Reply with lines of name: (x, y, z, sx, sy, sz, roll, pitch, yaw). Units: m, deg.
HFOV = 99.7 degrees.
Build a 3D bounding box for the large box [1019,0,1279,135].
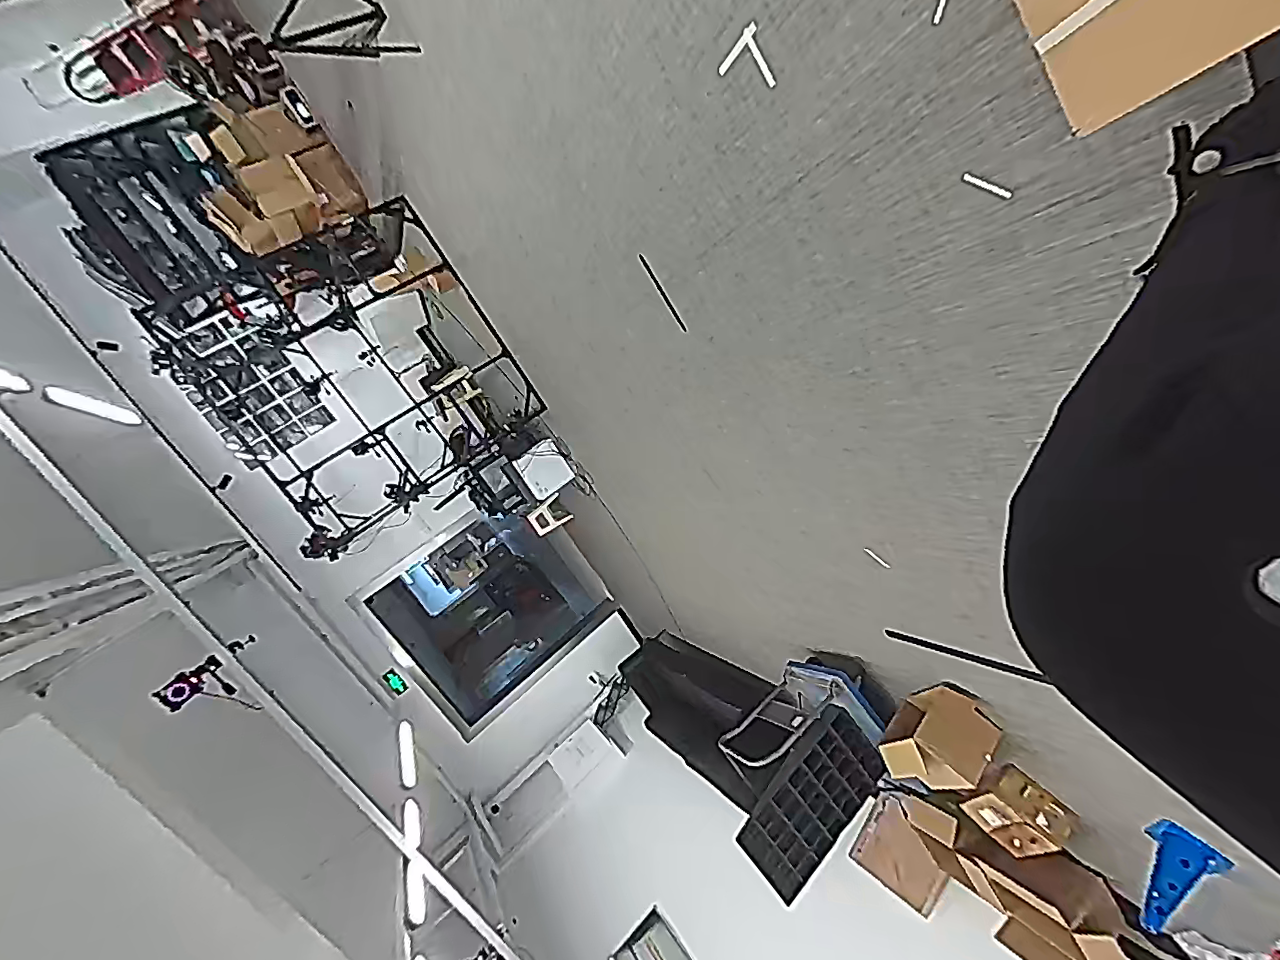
large box: (0.809, -0.776, 0.711, 0.320, 0.320, 0.408, 57, 160, -10)
